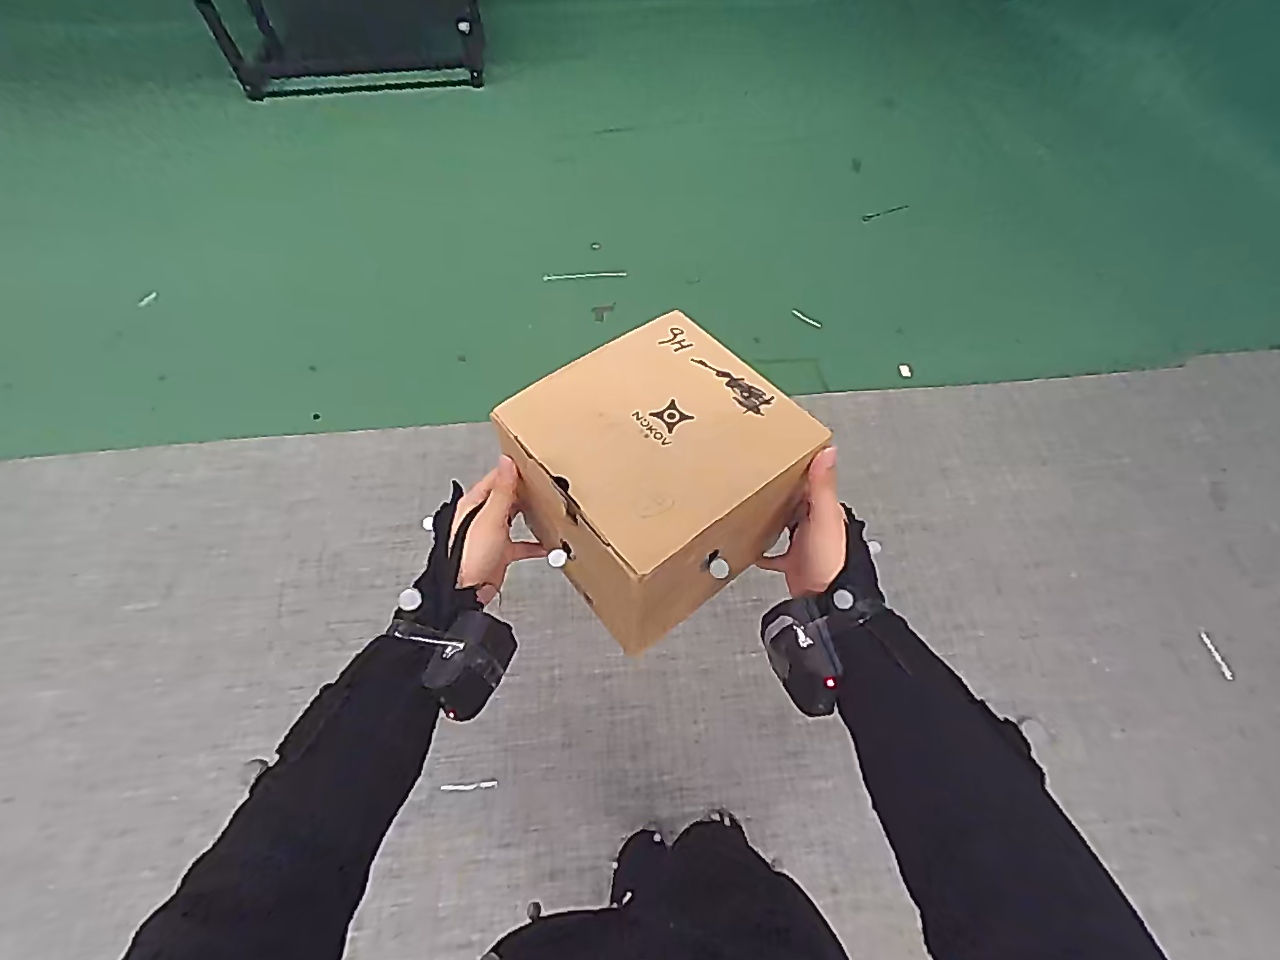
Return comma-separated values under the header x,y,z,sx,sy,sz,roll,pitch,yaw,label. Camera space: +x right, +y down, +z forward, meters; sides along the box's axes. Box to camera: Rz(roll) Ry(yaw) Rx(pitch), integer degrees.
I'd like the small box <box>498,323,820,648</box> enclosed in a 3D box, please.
x,y,z,sx,sy,sz,roll,pitch,yaw,label
0.012,0.010,0.451,0.179,0.176,0.168,-34,64,-21,small box
